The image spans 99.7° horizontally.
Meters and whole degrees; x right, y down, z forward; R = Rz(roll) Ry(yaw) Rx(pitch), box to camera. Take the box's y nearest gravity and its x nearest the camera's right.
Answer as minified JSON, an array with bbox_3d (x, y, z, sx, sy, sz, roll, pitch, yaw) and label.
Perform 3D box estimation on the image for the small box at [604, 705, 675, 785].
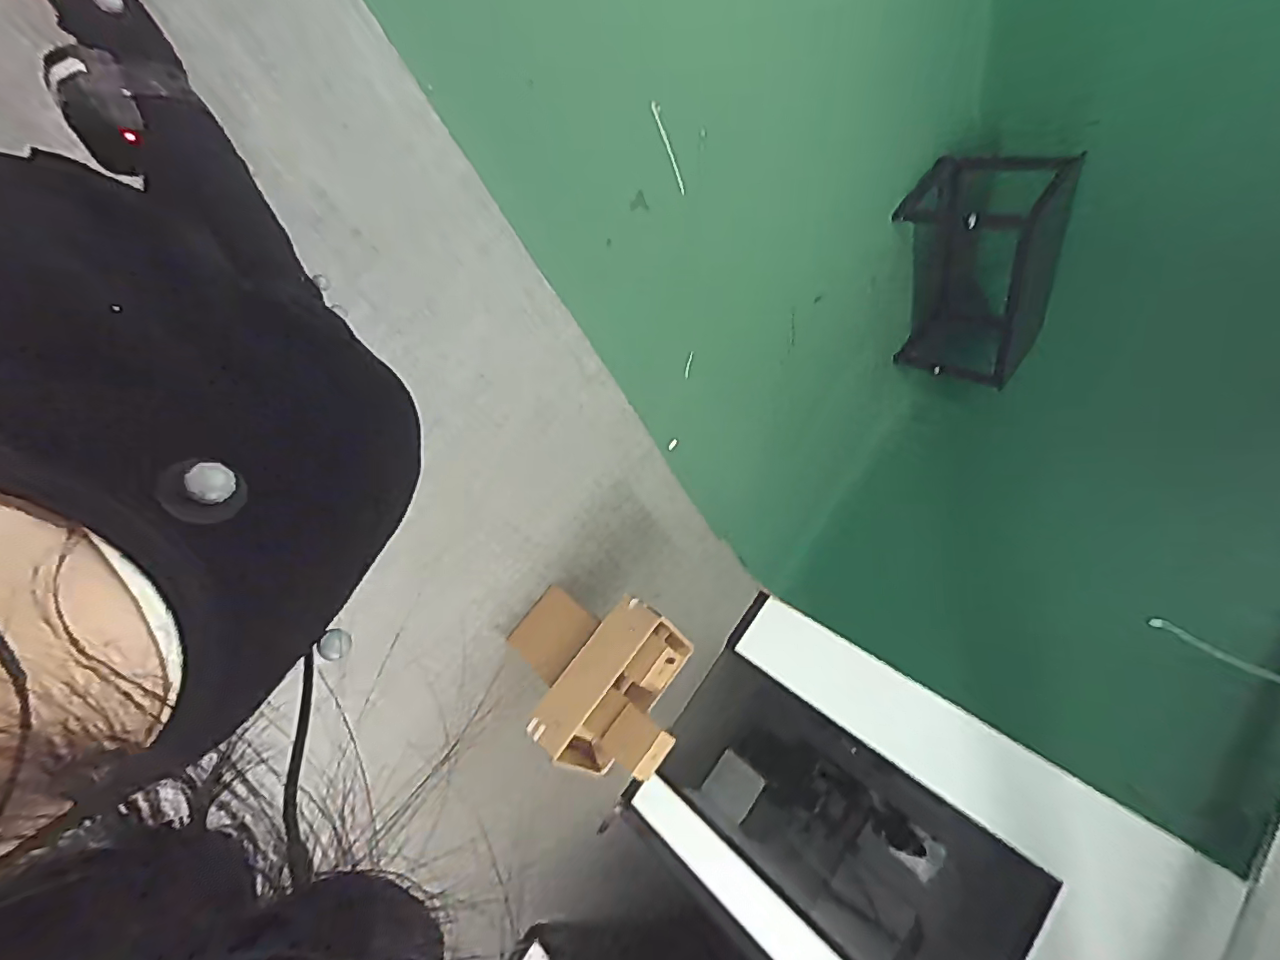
[{"bbox_3d":[-0.009,0.955,1.952,0.179,0.176,0.168,-49,140,-17],"label":"small box"}]
